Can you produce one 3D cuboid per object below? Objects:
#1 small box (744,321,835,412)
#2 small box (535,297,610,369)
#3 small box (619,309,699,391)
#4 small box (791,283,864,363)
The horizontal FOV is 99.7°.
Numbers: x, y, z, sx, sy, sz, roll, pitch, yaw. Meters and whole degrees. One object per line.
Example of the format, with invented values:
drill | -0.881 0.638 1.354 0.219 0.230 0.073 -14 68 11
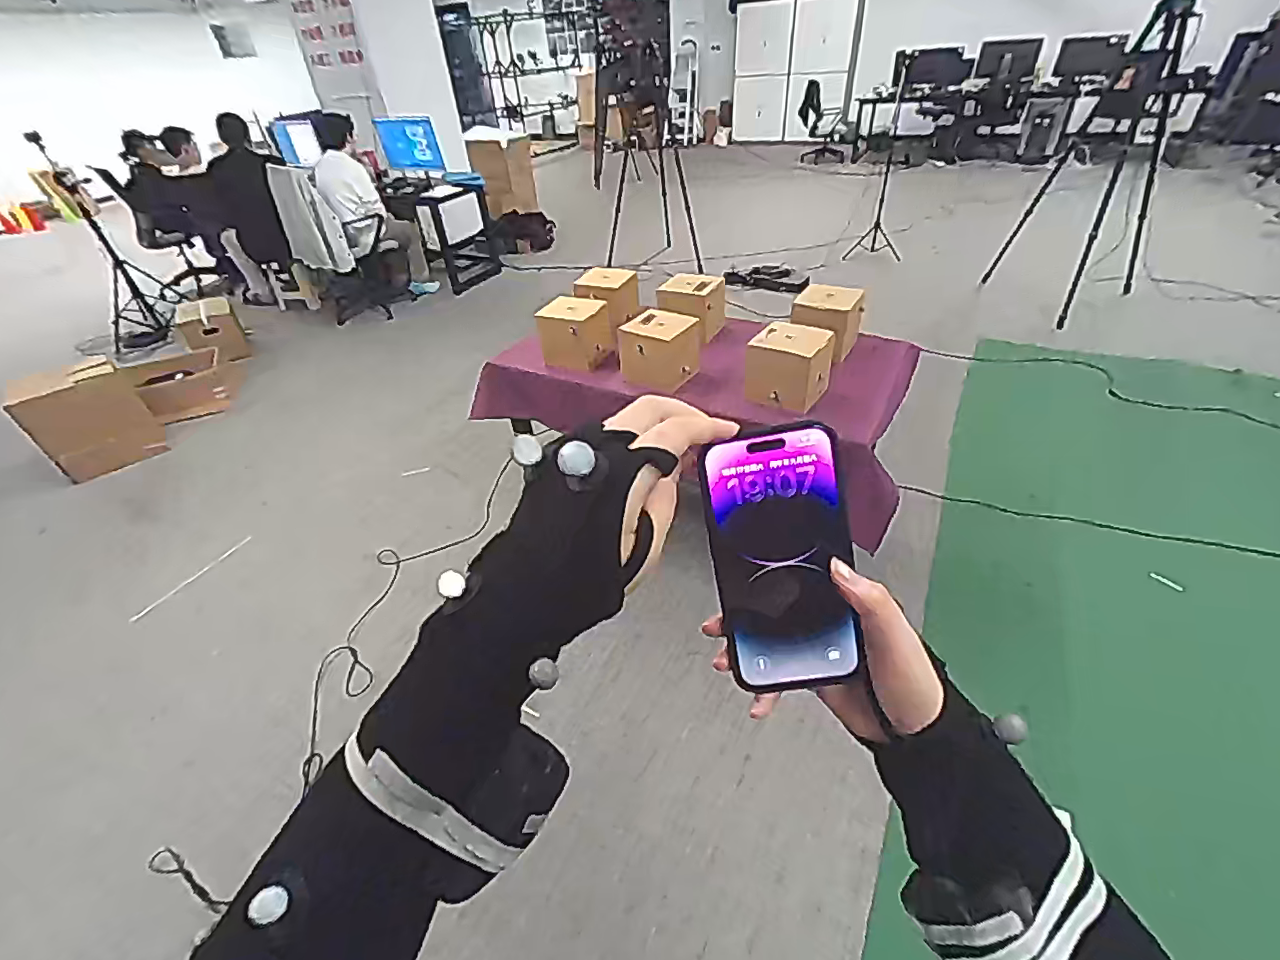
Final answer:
small box | 0.397 -0.304 1.451 0.179 0.176 0.168 22 46 29
small box | -0.208 -0.468 1.722 0.179 0.176 0.168 13 42 19
small box | 0.058 -0.380 1.582 0.179 0.176 0.168 22 46 28
small box | 0.563 -0.480 1.650 0.168 0.176 0.179 19 45 28
